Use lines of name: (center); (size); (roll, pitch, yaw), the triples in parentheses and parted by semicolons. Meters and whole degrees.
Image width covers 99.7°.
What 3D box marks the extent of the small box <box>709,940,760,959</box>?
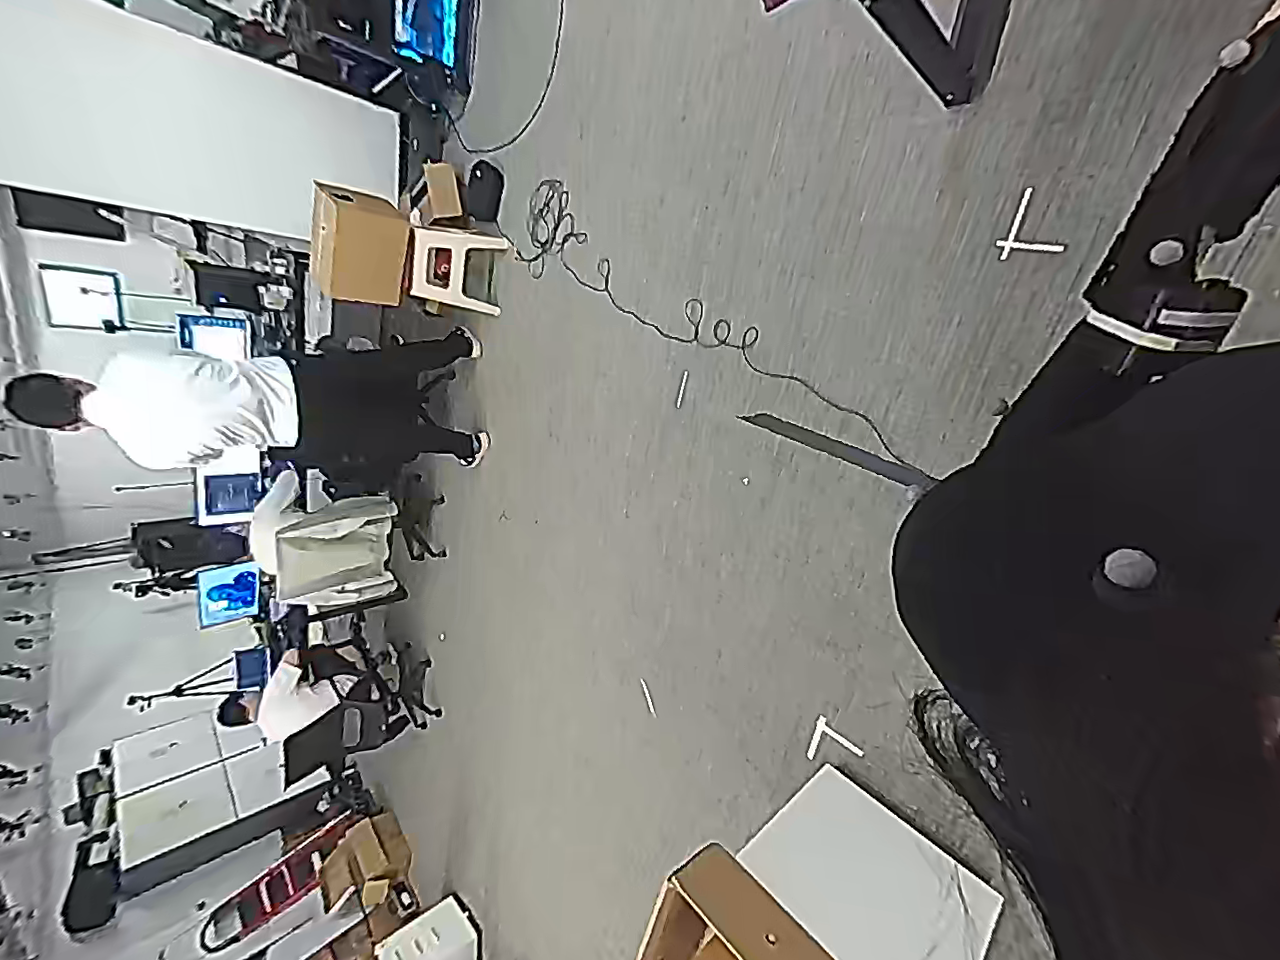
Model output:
small box: (0.206, 1.172, 1.186); (0.179, 0.176, 0.168); (28, 110, 39)
